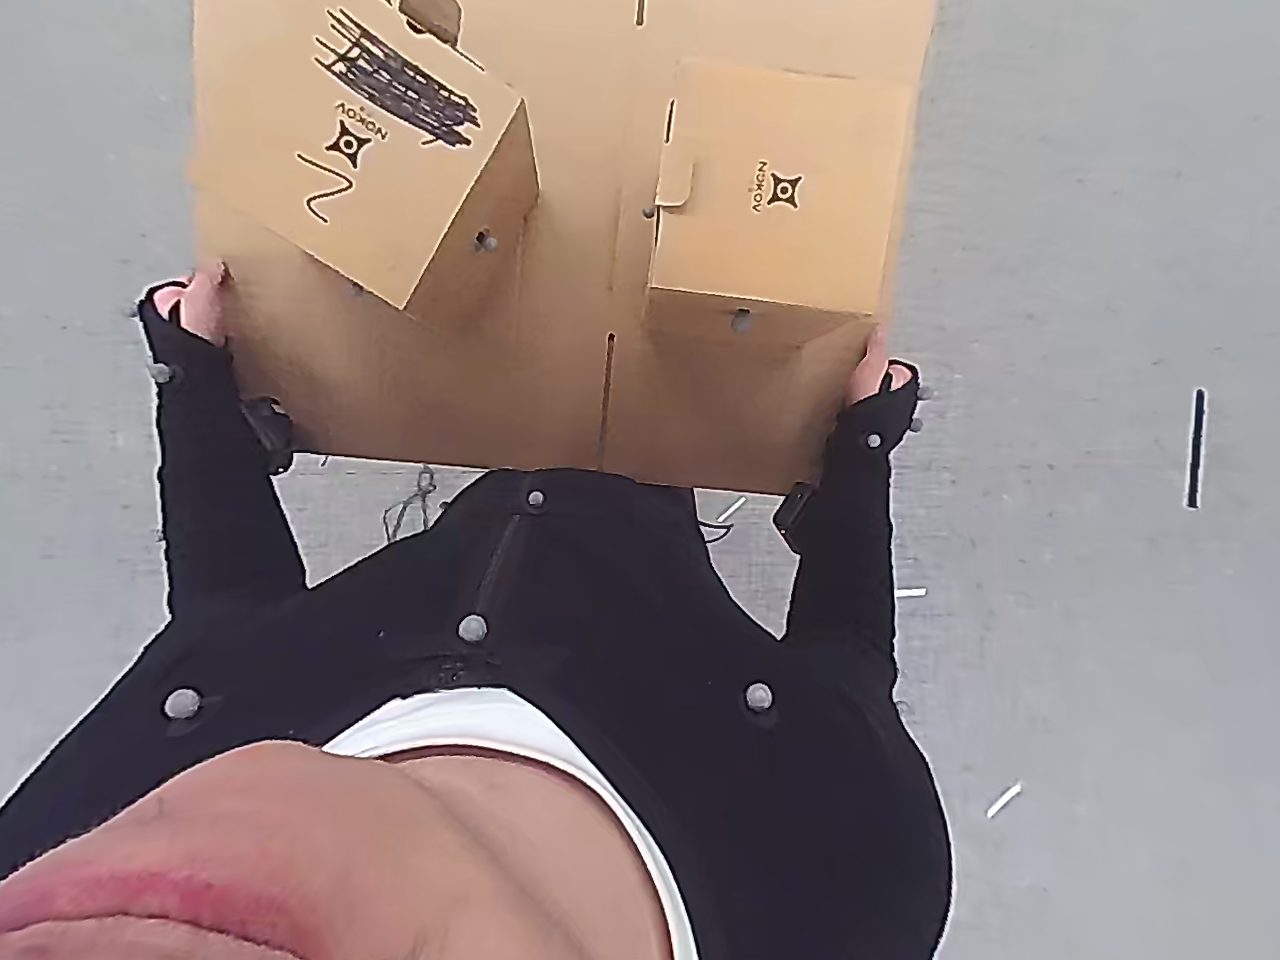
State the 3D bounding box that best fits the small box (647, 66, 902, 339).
[{"bbox_3d":[0.103,-0.230,0.497,0.179,0.176,0.168,7,96,-1],"label":"small box"}]
